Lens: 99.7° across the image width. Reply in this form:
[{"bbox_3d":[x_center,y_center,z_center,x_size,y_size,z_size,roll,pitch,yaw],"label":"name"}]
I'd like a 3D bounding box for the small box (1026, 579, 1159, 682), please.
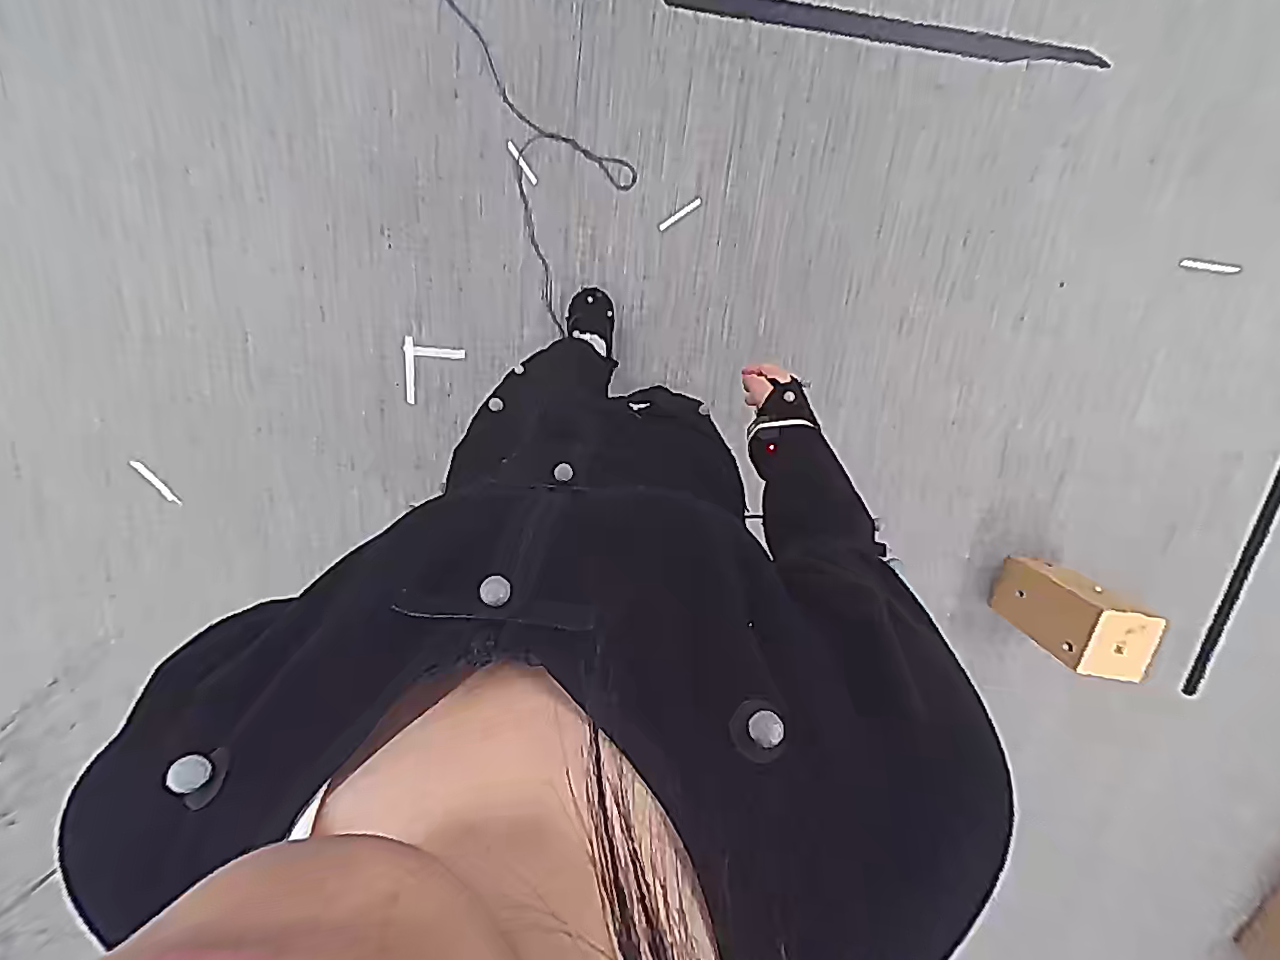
[{"bbox_3d":[1.129,0.376,1.369,0.168,0.176,0.179,10,104,-4],"label":"small box"}]

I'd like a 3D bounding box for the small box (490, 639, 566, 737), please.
[{"bbox_3d":[-0.283,0.529,1.391,0.168,0.176,0.179,3,105,-1],"label":"small box"}]
